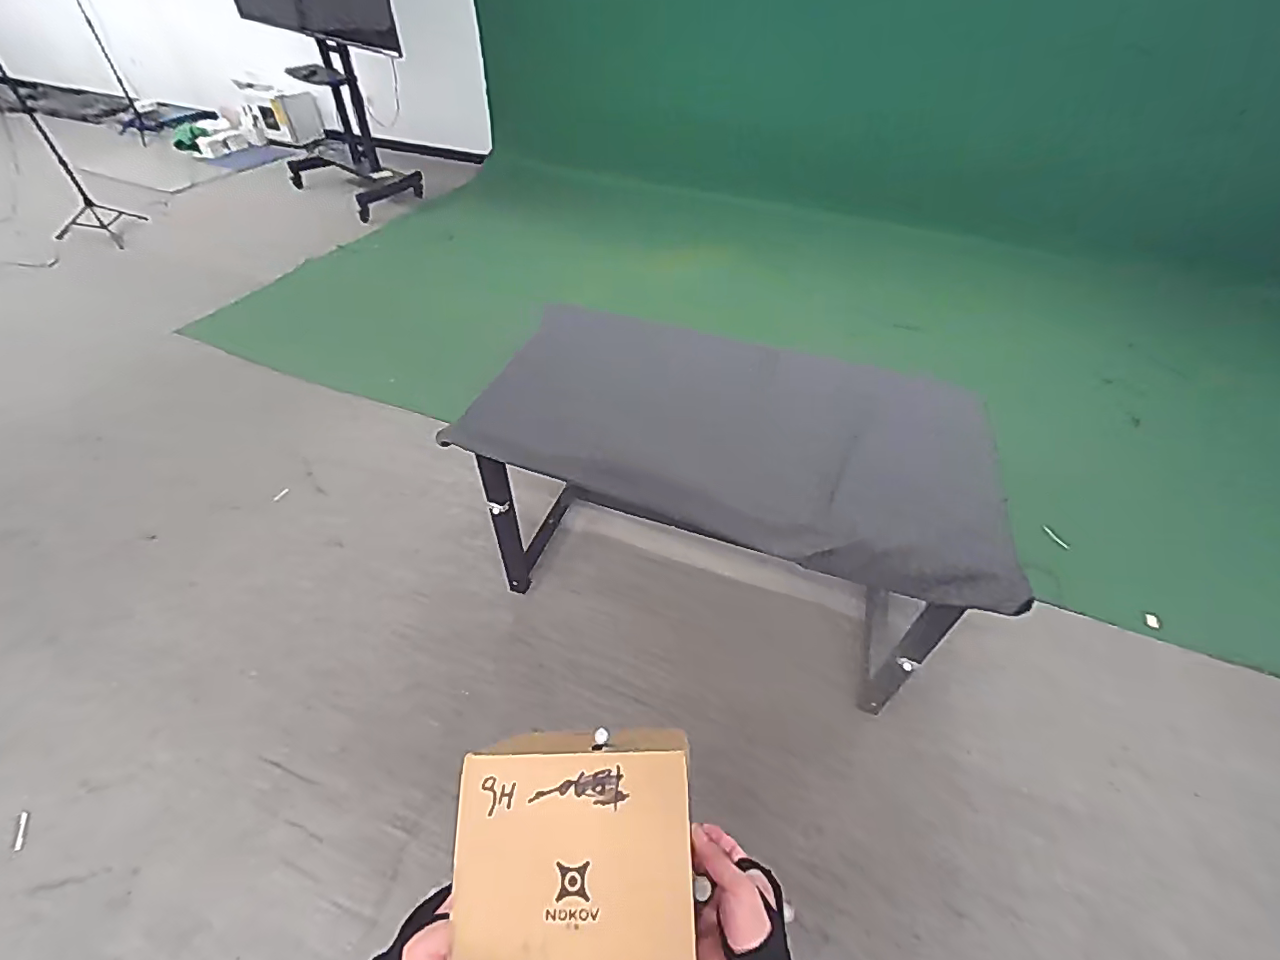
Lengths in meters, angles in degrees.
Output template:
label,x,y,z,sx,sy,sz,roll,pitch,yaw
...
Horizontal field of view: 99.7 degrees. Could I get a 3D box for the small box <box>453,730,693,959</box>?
label,x,y,z,sx,sy,sz,roll,pitch,yaw
small box,-0.041,0.314,0.449,0.168,0.176,0.179,-2,71,2
